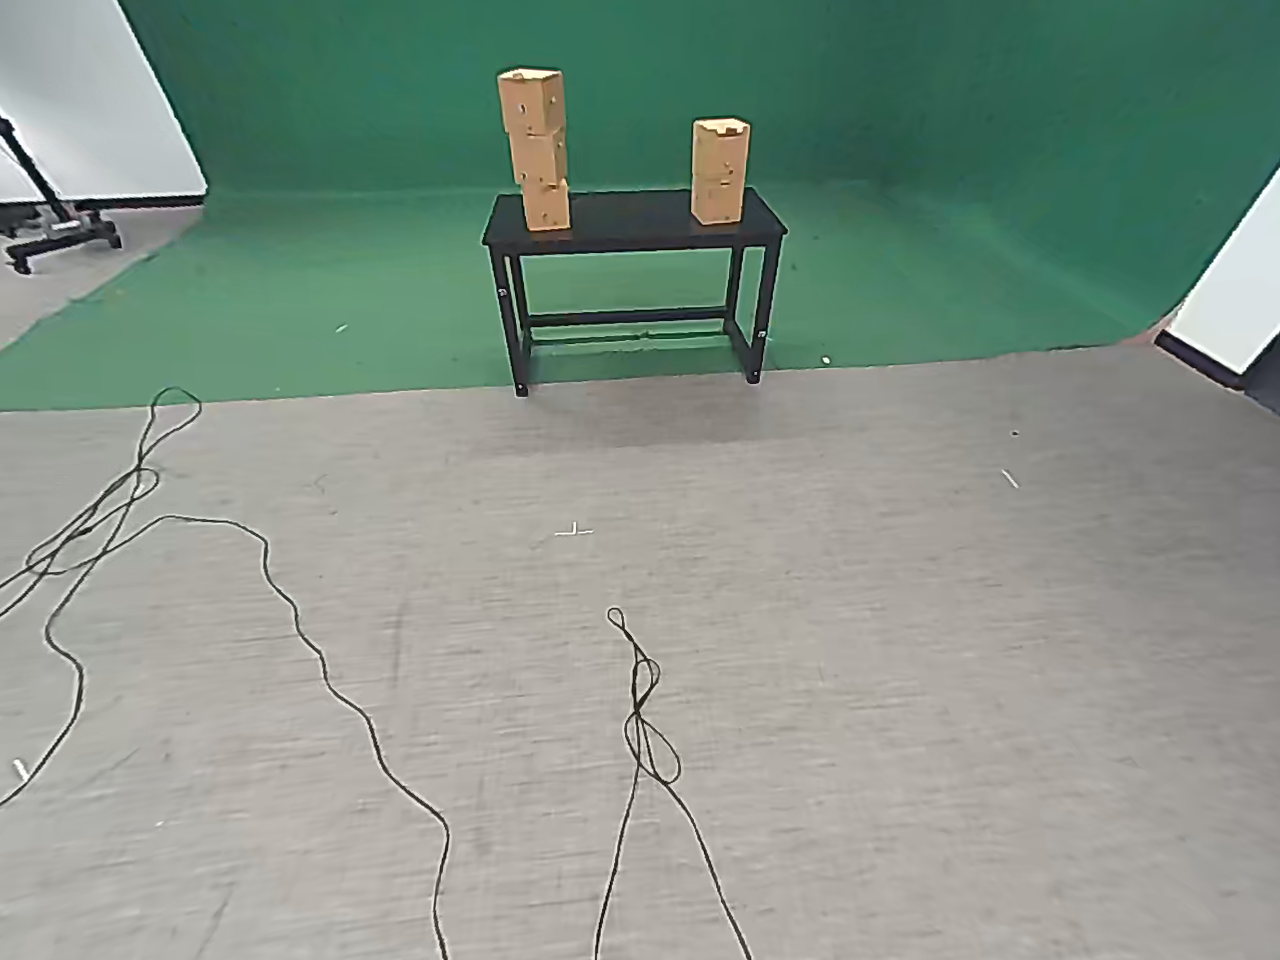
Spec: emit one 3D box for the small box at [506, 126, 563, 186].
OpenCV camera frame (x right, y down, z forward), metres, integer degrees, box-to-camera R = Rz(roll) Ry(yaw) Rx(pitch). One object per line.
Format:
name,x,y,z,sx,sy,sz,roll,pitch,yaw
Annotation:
small box,-0.396,-1.240,2.065,0.168,0.176,0.179,5,43,5

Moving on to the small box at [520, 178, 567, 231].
small box,-0.392,-1.121,2.178,0.168,0.176,0.179,-10,45,-10

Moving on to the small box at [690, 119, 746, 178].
small box,0.297,-1.293,2.110,0.168,0.176,0.179,-10,44,-9

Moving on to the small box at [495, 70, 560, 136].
small box,-0.399,-1.364,1.957,0.168,0.176,0.179,13,46,12
